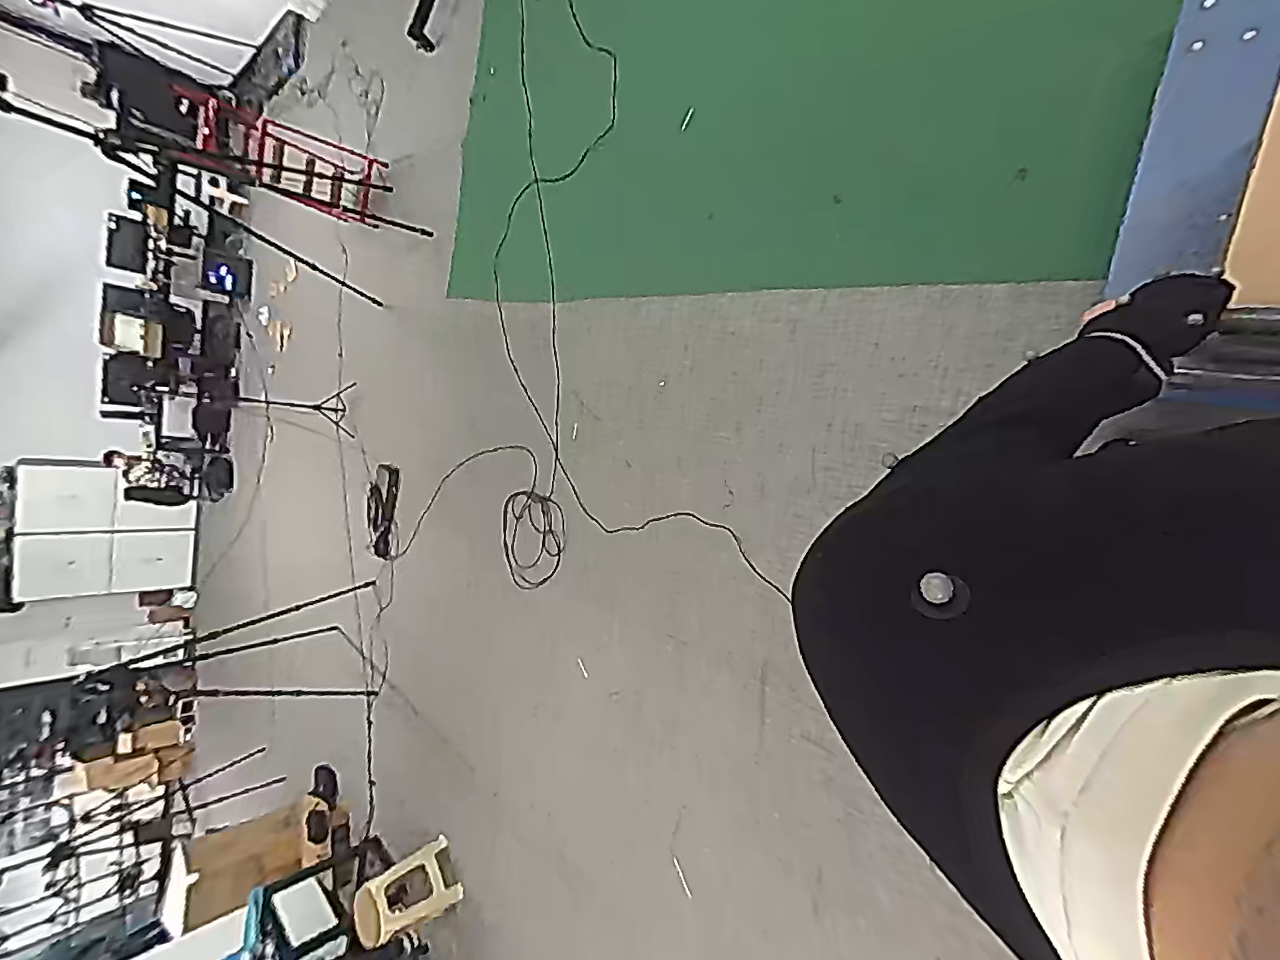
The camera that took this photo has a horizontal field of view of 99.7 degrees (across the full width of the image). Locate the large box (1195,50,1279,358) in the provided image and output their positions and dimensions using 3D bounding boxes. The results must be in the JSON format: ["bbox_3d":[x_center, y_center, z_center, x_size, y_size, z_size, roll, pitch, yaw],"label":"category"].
[{"bbox_3d":[1.129,-0.415,0.833,0.320,0.320,0.408,16,97,40],"label":"large box"}]
